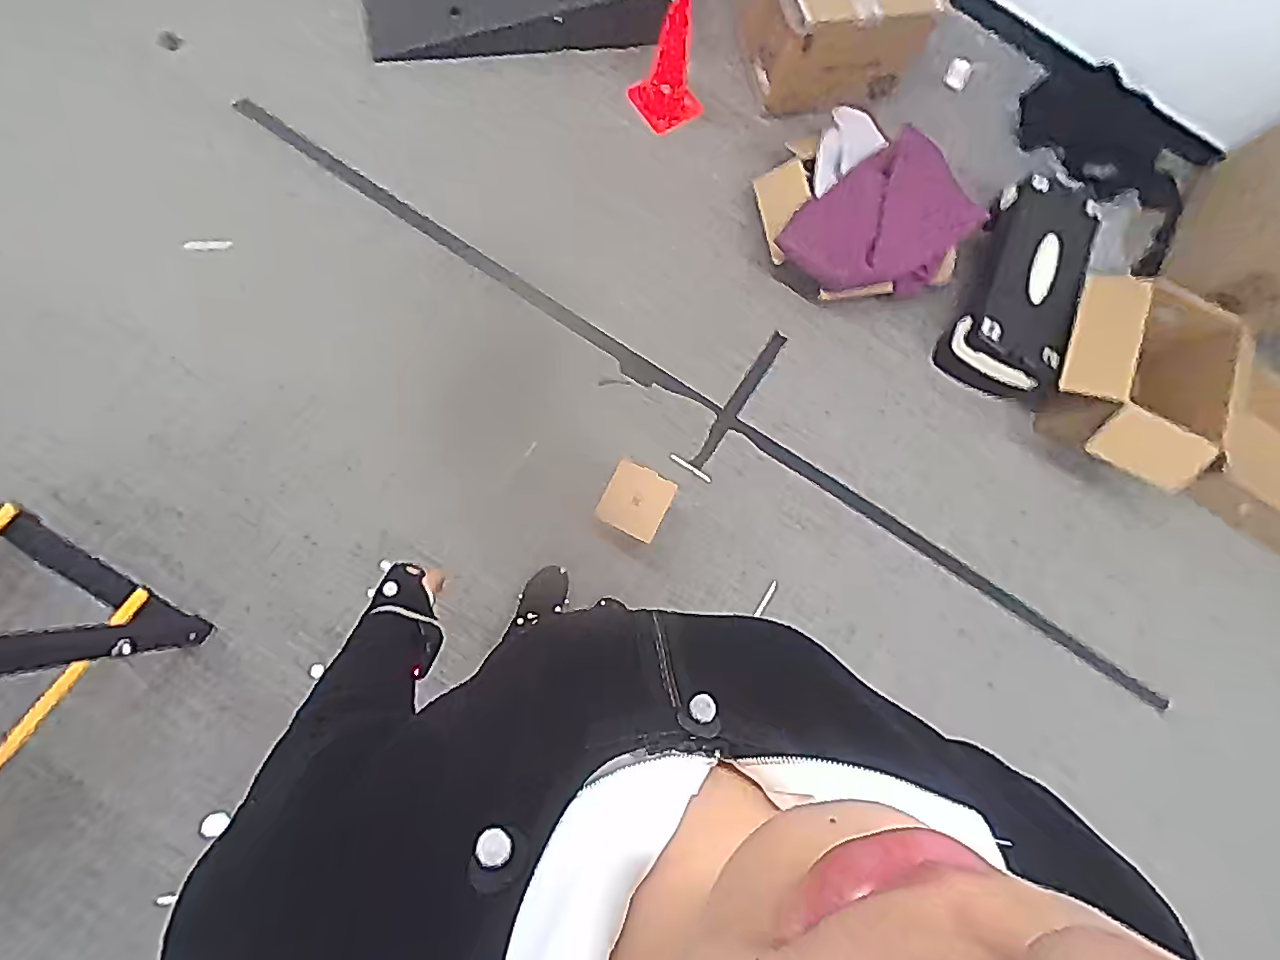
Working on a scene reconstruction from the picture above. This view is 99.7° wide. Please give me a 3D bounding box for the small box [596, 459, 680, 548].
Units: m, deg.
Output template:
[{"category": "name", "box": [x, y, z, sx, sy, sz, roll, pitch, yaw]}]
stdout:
[{"category": "small box", "box": [-0.014, 0.070, 1.465, 0.168, 0.176, 0.179, 27, 79, -1]}]
